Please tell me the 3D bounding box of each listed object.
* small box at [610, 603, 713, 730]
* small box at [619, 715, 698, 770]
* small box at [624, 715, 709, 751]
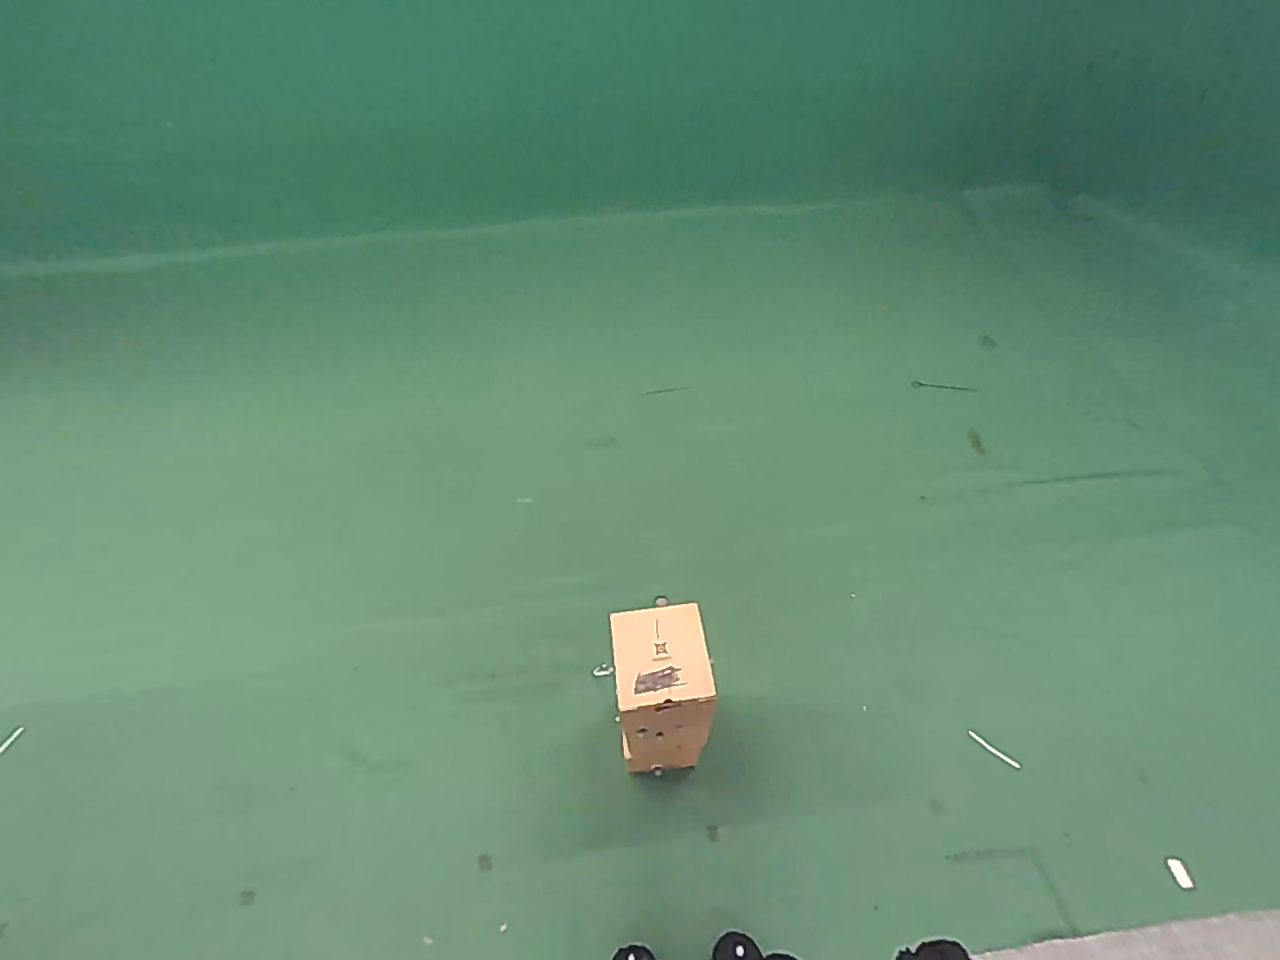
[{"bbox_3d":[0.037,0.353,1.008,0.168,0.176,0.179,-6,51,-3],"label":"small box"},{"bbox_3d":[0.038,0.551,1.247,0.168,0.176,0.179,-5,52,0],"label":"small box"},{"bbox_3d":[0.044,0.455,1.138,0.168,0.176,0.179,-7,50,-3],"label":"small box"}]
